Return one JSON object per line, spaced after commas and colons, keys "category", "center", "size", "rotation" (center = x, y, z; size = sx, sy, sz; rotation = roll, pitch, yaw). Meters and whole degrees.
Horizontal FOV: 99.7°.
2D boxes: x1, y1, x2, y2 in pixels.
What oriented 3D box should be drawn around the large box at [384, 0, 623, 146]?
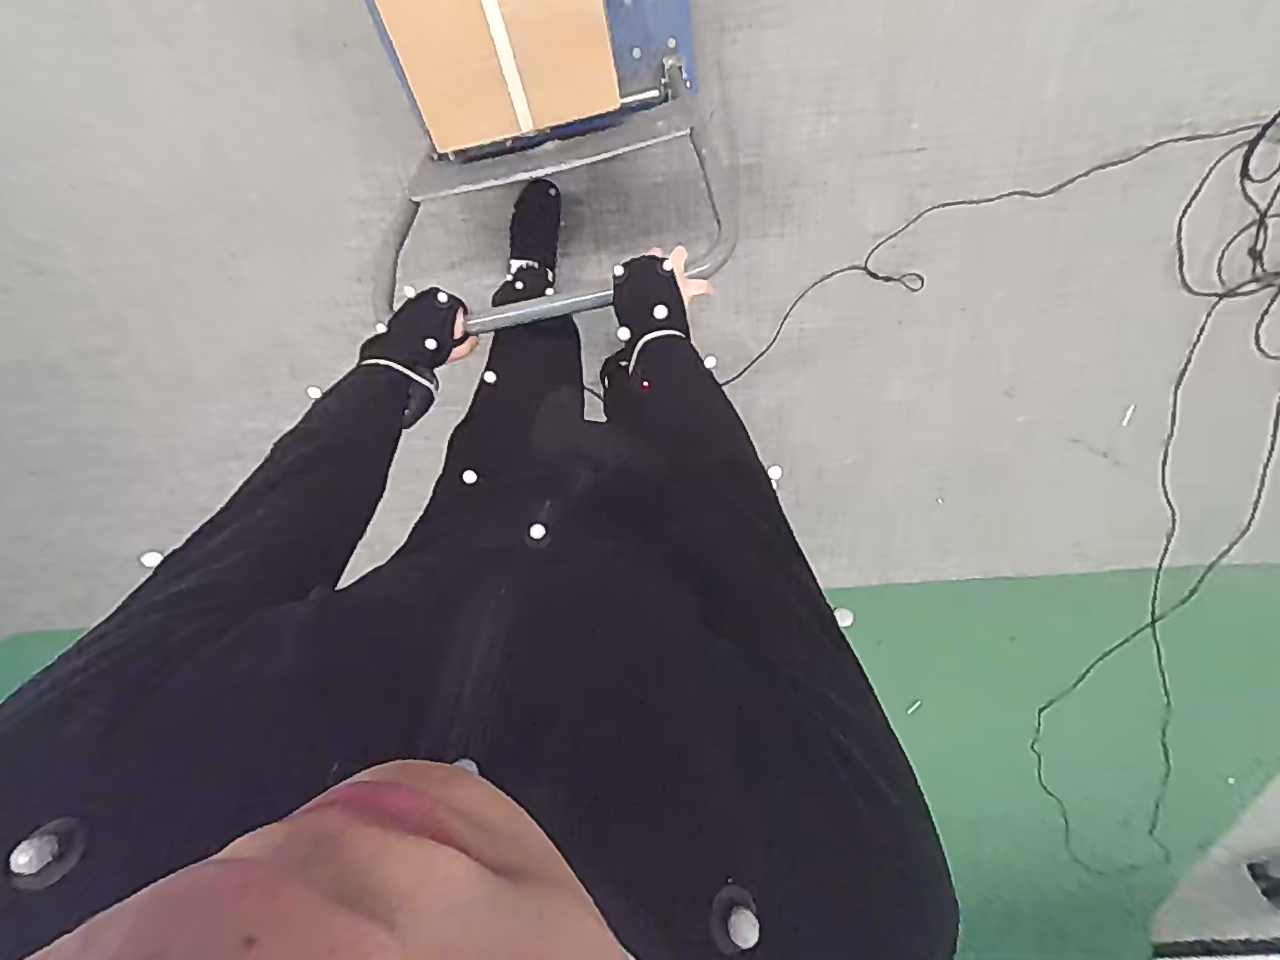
{"category": "large box", "center": [-0.223, -0.821, 0.850], "size": [0.320, 0.320, 0.408], "rotation": [-10, 135, 6]}
